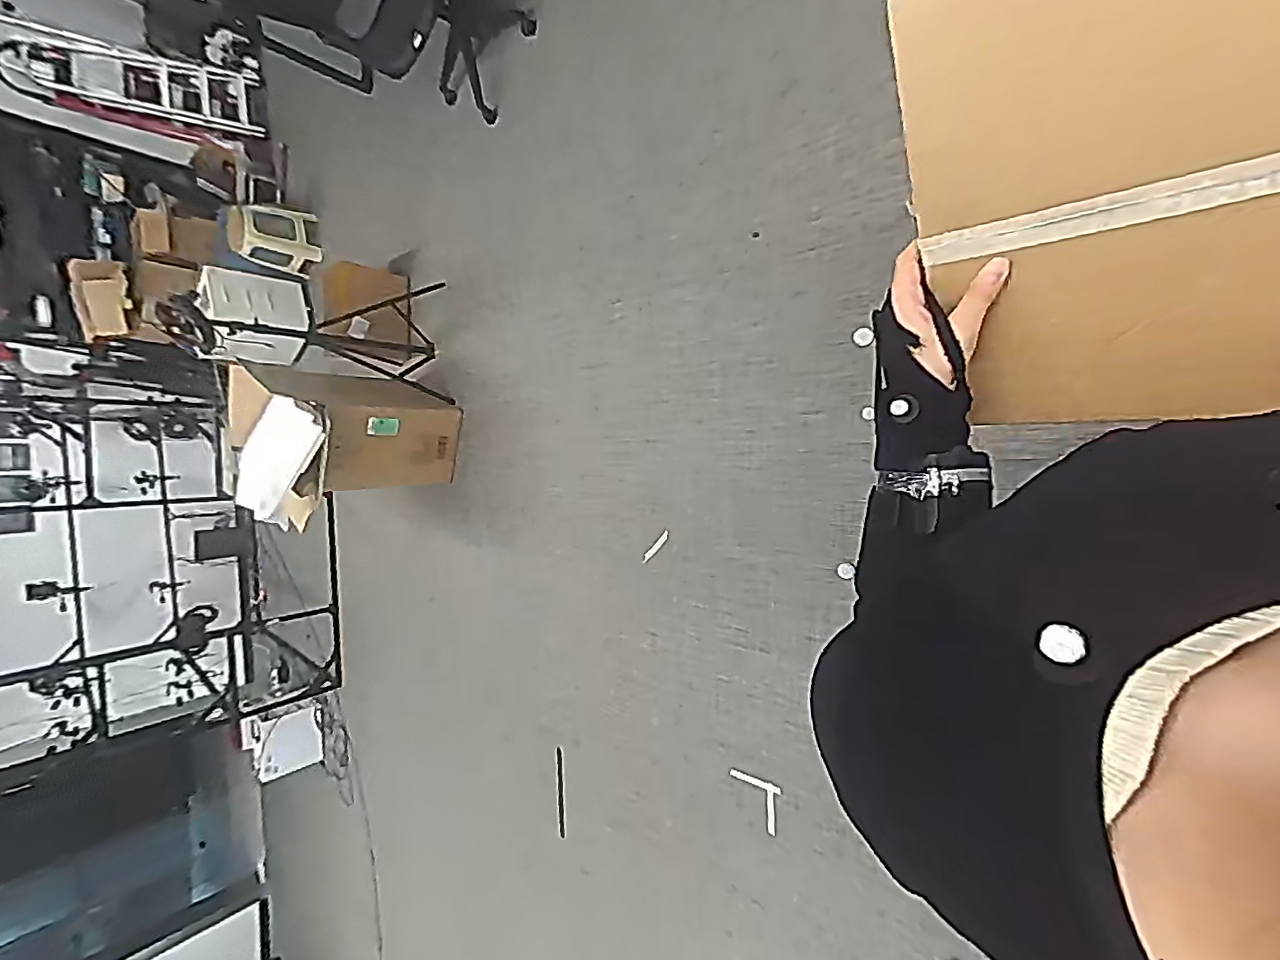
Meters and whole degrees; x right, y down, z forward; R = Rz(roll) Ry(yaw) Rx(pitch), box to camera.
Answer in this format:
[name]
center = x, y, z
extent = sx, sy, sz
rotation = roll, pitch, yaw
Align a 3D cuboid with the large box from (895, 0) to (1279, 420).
[large box]
center = 0.442, -0.264, 0.362
extent = 0.408, 0.320, 0.320
rotation = 1, 130, 41
